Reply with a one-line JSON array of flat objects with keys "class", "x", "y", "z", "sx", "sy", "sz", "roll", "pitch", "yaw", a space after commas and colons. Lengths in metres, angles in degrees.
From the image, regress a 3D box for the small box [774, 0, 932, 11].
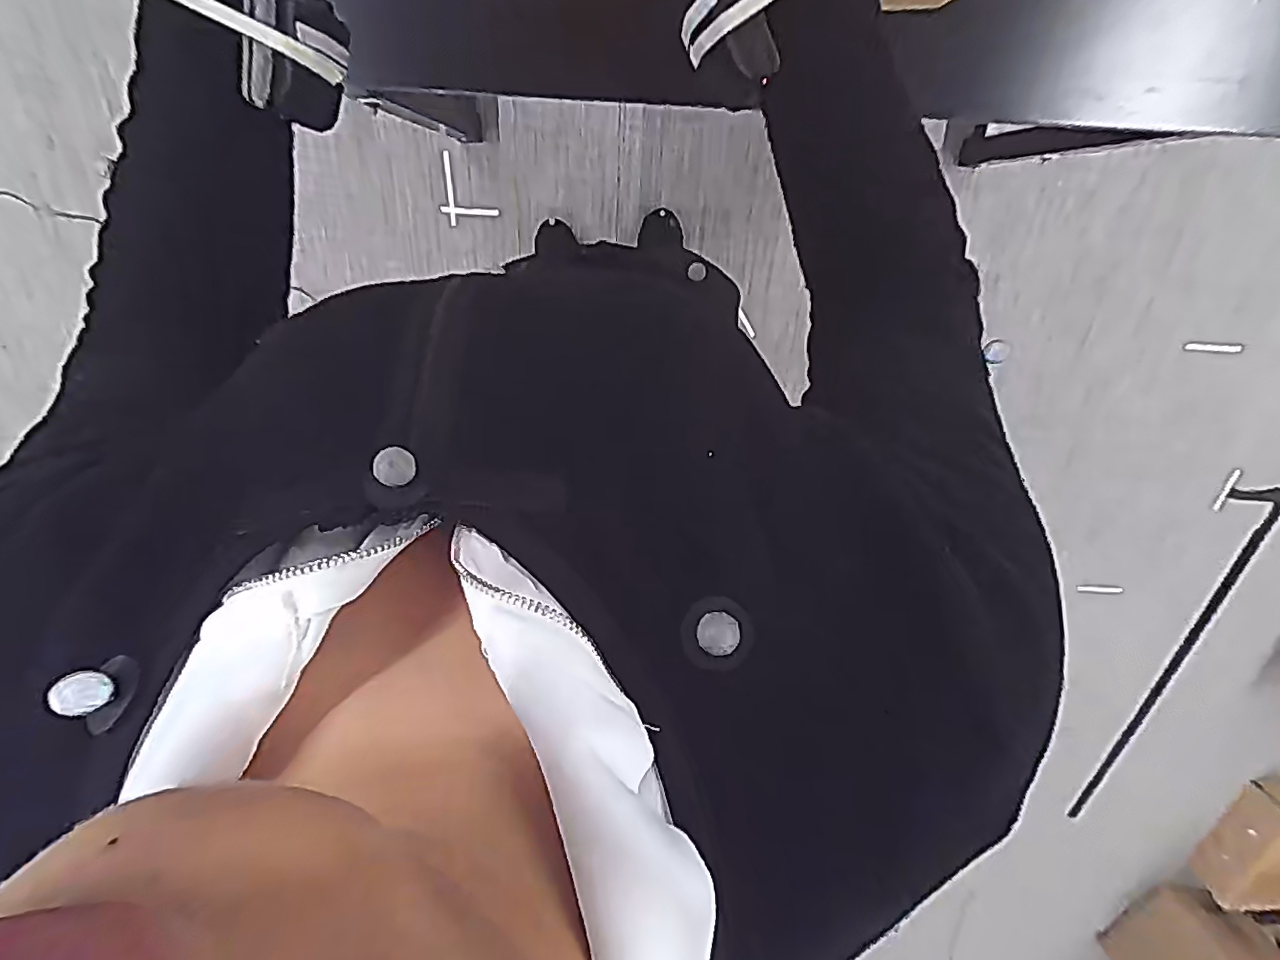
[{"class": "small box", "x": 0.214, "y": -0.516, "z": 0.443, "sx": 0.179, "sy": 0.176, "sz": 0.168, "roll": -2, "pitch": 116, "yaw": 0}]
